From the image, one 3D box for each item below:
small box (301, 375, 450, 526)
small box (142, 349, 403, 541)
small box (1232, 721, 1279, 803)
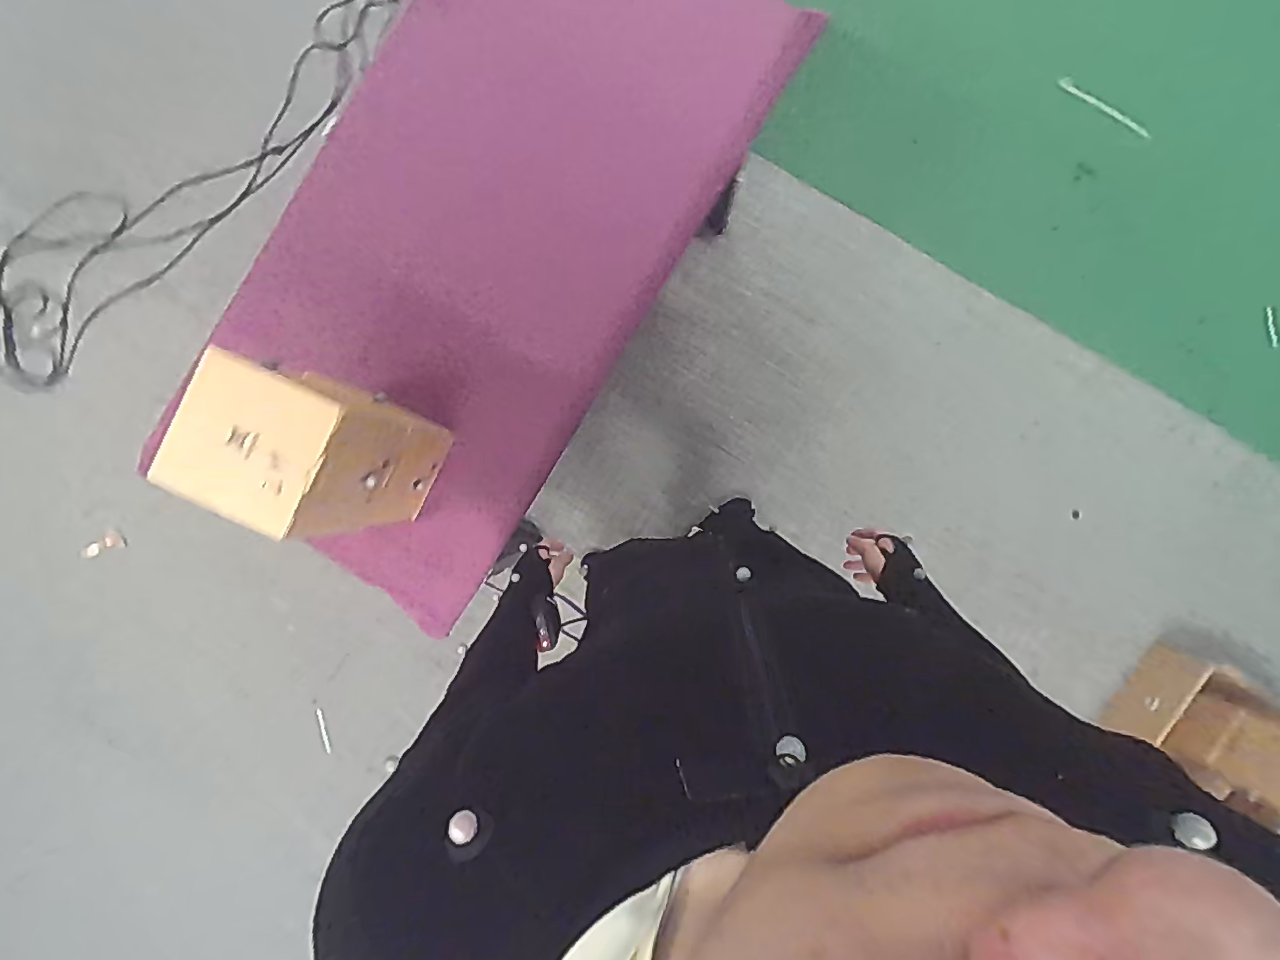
[{"bbox_3d":[-0.433,-0.038,0.843,0.179,0.176,0.168,25,89,2],"label":"small box"},{"bbox_3d":[-0.441,-0.037,0.678,0.179,0.176,0.168,25,89,2],"label":"small box"},{"bbox_3d":[1.582,0.700,1.265,0.179,0.176,0.168,33,88,1],"label":"small box"}]
